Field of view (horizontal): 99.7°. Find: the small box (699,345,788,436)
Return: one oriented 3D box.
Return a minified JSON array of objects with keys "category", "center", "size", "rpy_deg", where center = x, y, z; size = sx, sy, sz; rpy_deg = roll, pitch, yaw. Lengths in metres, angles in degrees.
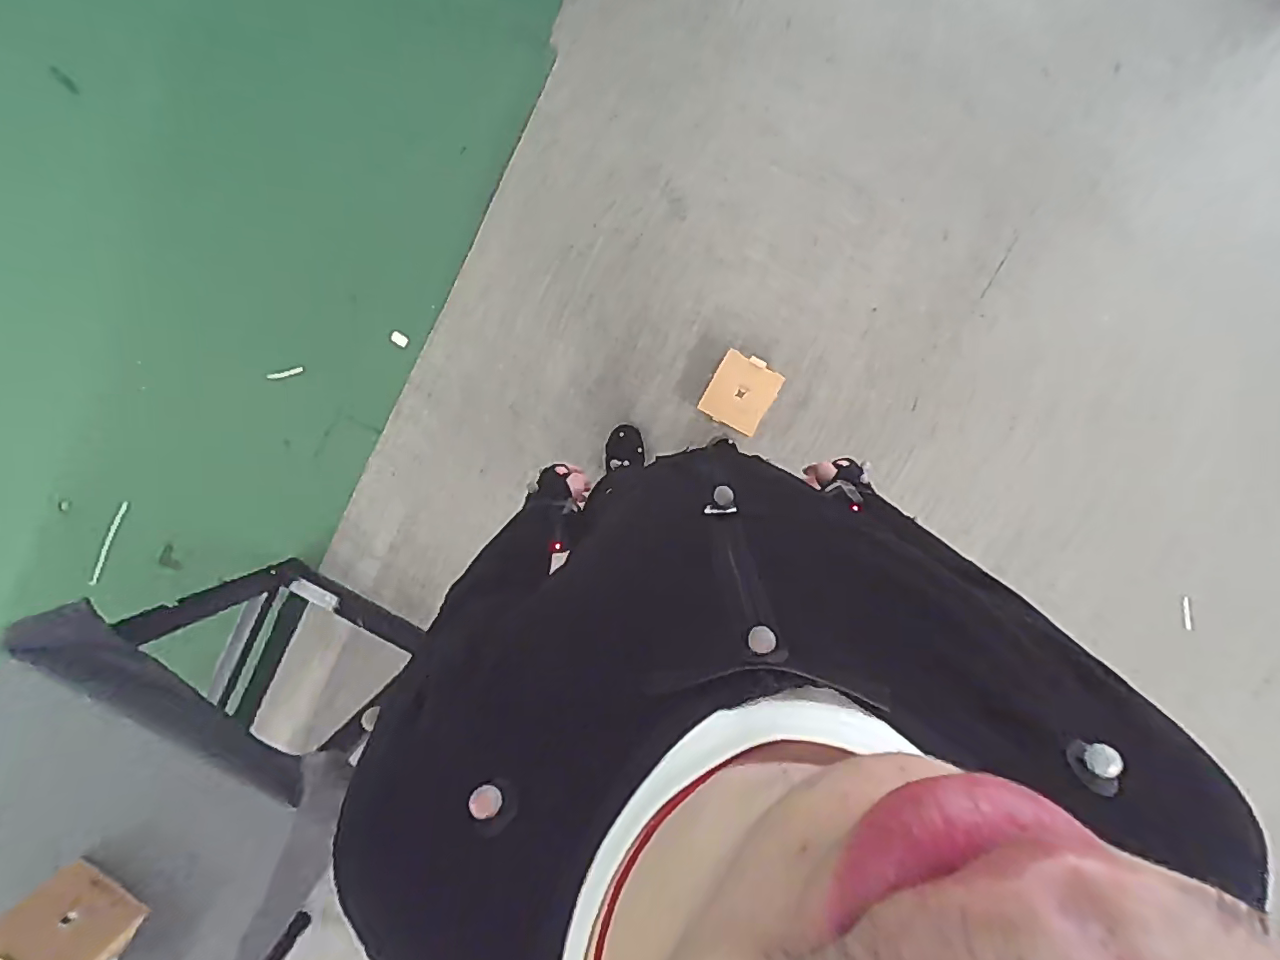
[{"category":"small box","center":[0.268,-0.233,1.445],"size":[0.168,0.176,0.179],"rpy_deg":[31,98,3]}]

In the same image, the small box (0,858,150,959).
[{"category":"small box","center":[-1.020,0.817,0.939],"size":[0.168,0.176,0.179],"rpy_deg":[37,97,-1]}]
